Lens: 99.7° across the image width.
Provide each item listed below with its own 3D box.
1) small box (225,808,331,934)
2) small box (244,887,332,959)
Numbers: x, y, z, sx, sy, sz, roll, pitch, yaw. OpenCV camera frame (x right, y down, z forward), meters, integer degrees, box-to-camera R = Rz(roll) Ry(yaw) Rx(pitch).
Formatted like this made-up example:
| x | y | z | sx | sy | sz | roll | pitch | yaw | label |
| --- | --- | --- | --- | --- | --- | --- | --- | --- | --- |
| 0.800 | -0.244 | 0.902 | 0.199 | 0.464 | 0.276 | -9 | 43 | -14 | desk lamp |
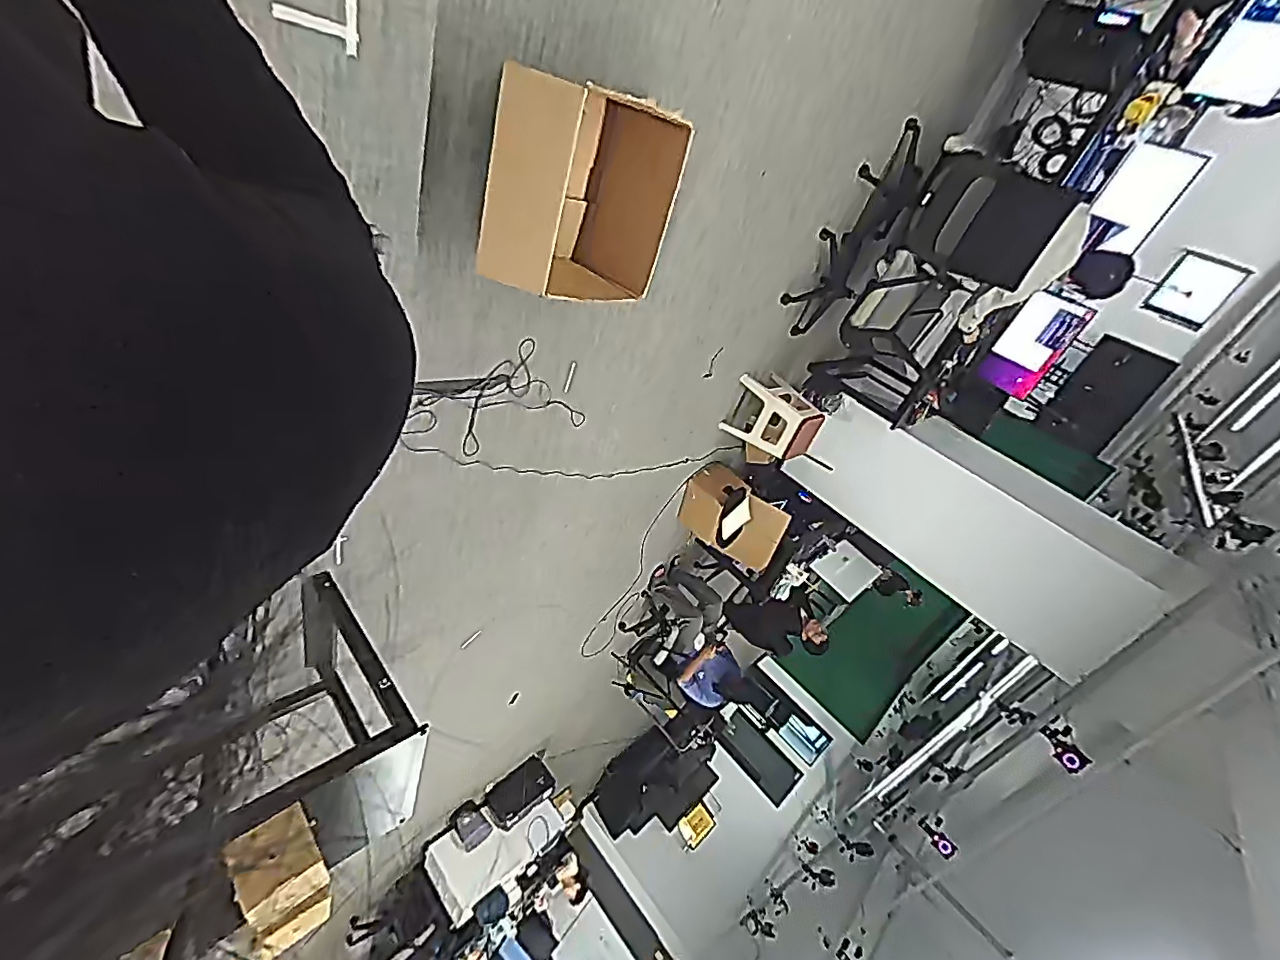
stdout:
| x | y | z | sx | sy | sz | roll | pitch | yaw | label |
| --- | --- | --- | --- | --- | --- | --- | --- | --- | --- |
| -0.896 | 0.960 | 1.341 | 0.168 | 0.176 | 0.179 | -23 | 142 | -40 | small box |
| -0.975 | 1.170 | 1.493 | 0.168 | 0.176 | 0.179 | -16 | 138 | -46 | small box |
